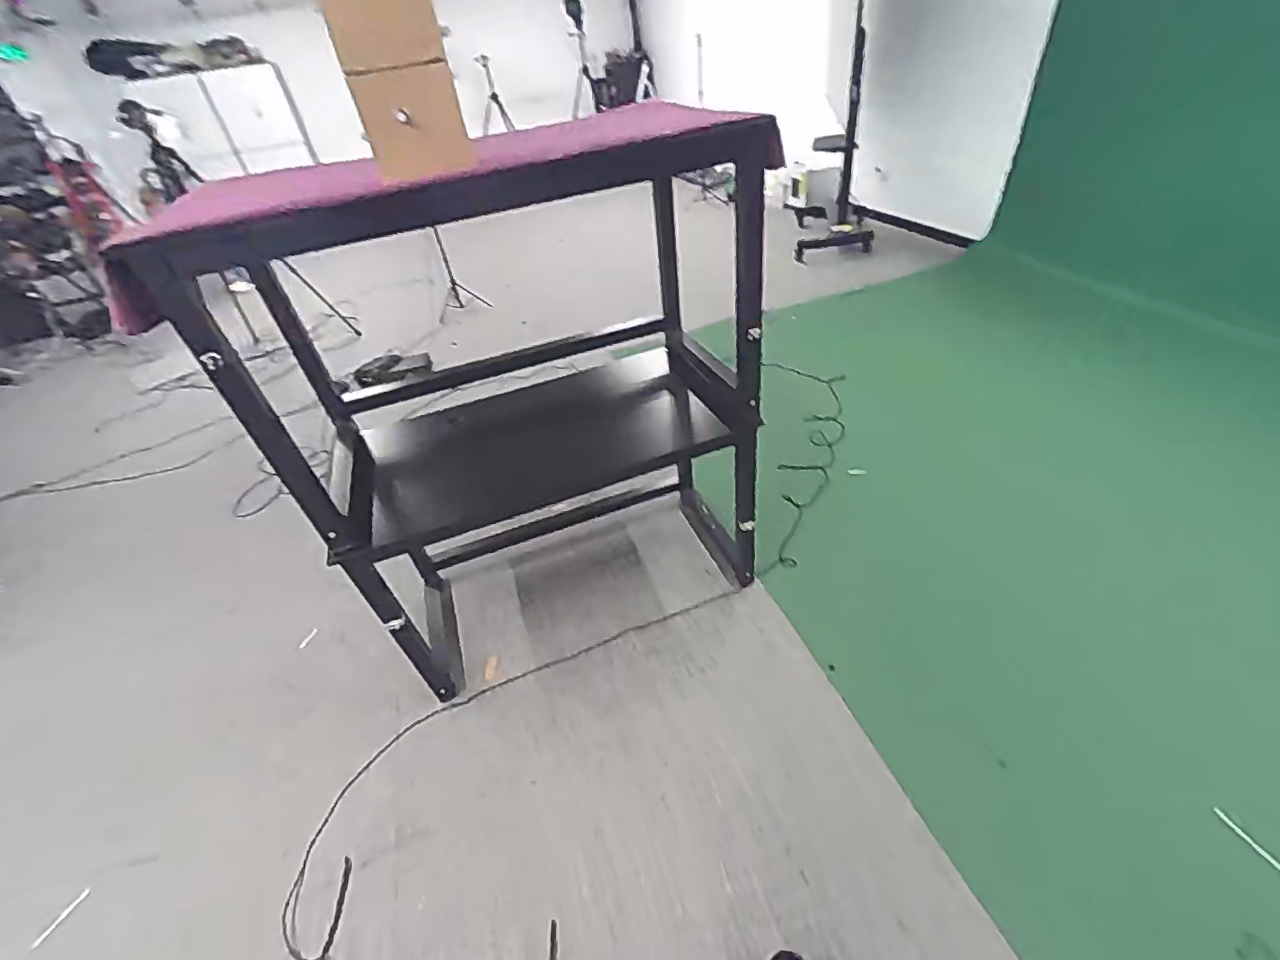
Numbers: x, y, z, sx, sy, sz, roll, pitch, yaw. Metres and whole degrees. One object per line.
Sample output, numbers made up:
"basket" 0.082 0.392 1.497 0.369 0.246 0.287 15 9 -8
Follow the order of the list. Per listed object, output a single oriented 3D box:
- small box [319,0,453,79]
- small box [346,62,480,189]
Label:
"small box" -0.435 -0.793 0.919 0.179 0.176 0.168 -15 39 -8
"small box" -0.417 -0.665 1.019 0.179 0.176 0.168 -17 39 -8
